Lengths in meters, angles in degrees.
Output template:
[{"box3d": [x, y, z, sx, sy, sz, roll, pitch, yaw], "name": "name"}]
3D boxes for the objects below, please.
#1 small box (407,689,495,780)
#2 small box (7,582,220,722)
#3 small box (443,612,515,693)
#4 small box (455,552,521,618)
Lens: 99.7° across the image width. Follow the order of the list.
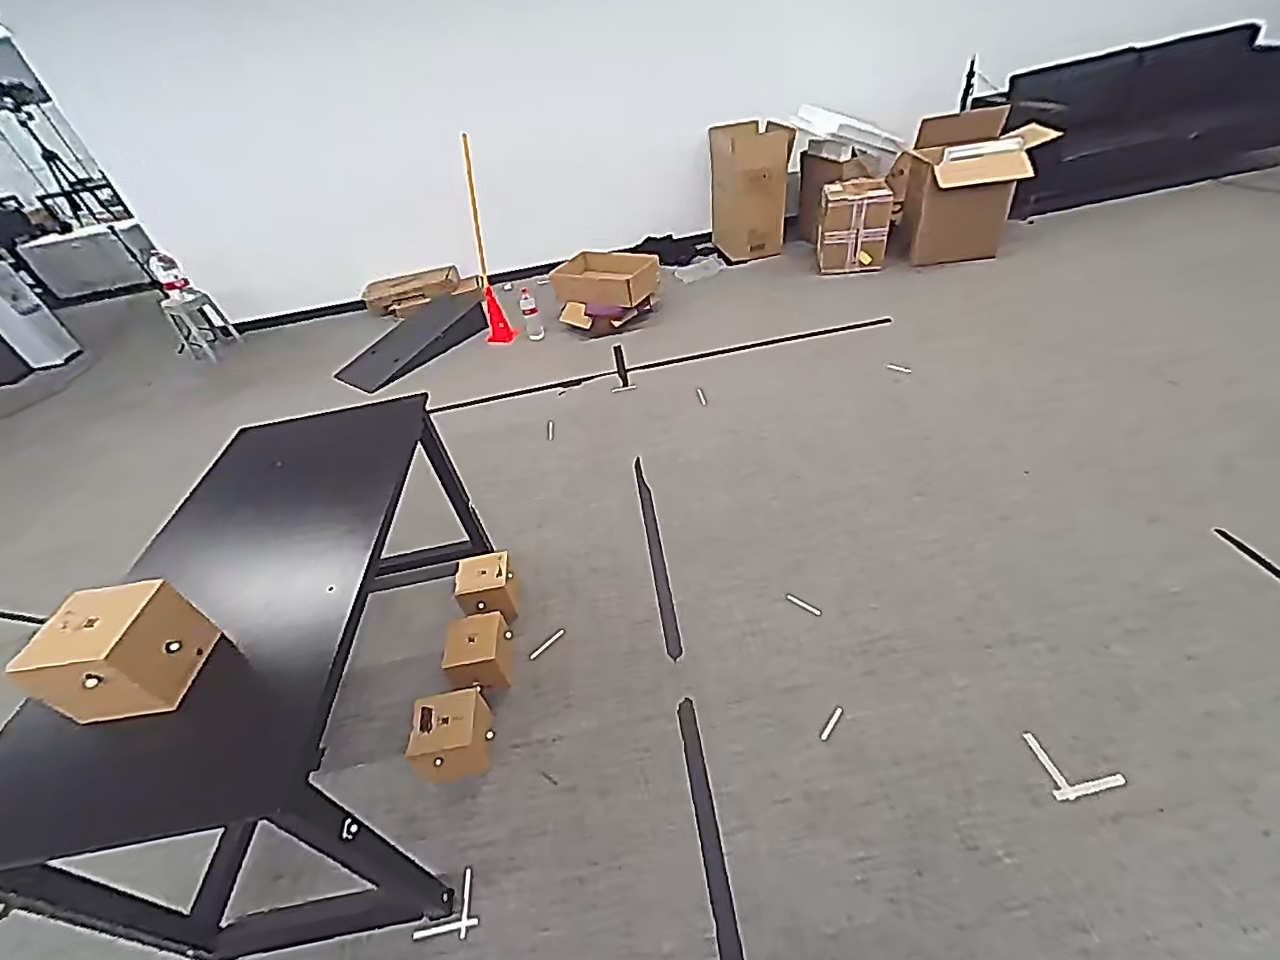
[{"box3d": [-0.527, 0.723, 1.530, 0.179, 0.176, 0.168, -11, 40, -1], "name": "small box"}, {"box3d": [-0.918, 0.309, 0.969, 0.179, 0.176, 0.168, -9, 39, 2], "name": "small box"}, {"box3d": [-0.506, 0.555, 1.725, 0.168, 0.176, 0.179, -12, 40, 0], "name": "small box"}, {"box3d": [-0.536, 0.388, 1.926, 0.179, 0.176, 0.168, -12, 41, -1], "name": "small box"}]
